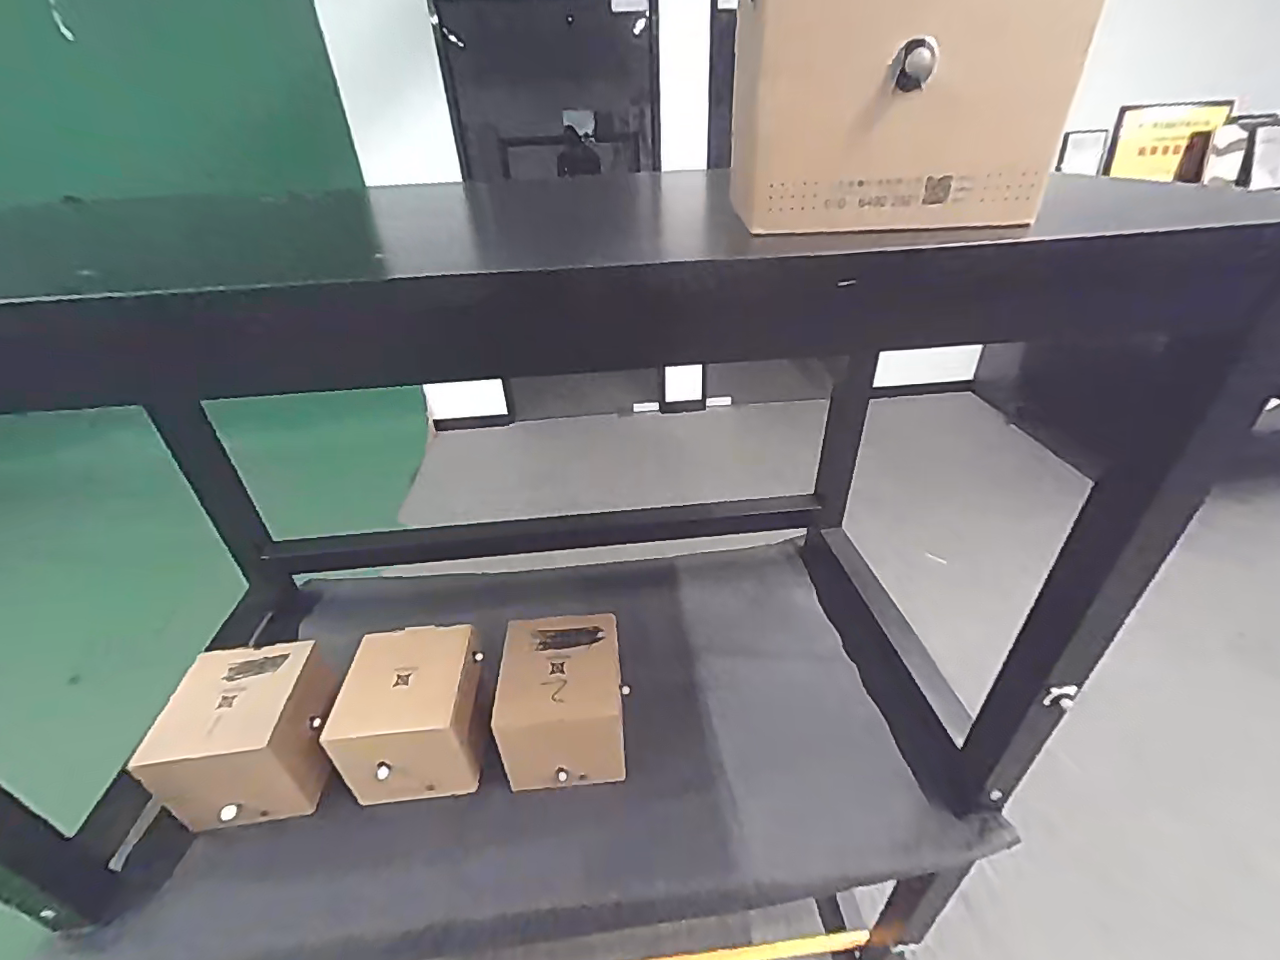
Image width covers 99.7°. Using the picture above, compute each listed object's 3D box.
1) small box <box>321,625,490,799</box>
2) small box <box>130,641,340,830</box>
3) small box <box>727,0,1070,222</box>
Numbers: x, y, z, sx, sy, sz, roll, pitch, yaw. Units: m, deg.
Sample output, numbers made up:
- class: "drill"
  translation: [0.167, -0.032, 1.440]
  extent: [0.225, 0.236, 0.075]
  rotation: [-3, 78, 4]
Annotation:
- class: "small box"
  translation: [-0.325, 0.343, 0.796]
  extent: [0.168, 0.176, 0.179]
  rotation: [-4, 32, -3]
- class: "small box"
  translation: [-0.551, 0.362, 0.777]
  extent: [0.168, 0.176, 0.179]
  rotation: [-6, 33, -5]
- class: "small box"
  translation: [0.146, -0.269, 0.353]
  extent: [0.168, 0.176, 0.179]
  rotation: [0, 32, 4]
